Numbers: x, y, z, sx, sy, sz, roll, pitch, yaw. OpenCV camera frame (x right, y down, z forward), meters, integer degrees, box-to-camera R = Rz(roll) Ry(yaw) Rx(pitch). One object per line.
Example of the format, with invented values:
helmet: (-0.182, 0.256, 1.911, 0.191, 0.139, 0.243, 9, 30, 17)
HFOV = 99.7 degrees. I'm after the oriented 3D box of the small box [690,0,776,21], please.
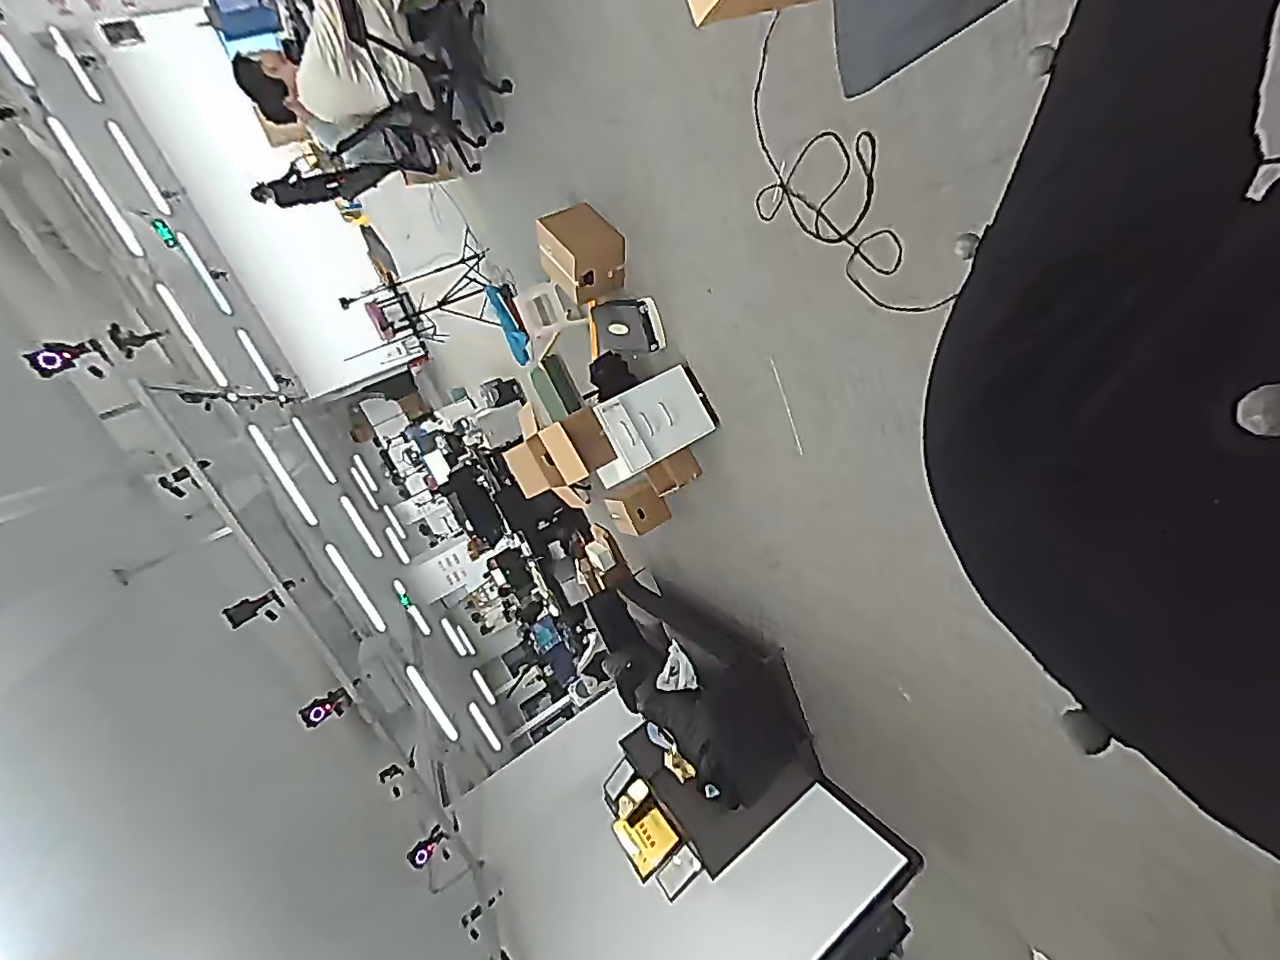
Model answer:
small box: (0.130, -0.554, 0.467, 0.179, 0.176, 0.168, 11, 128, 64)
